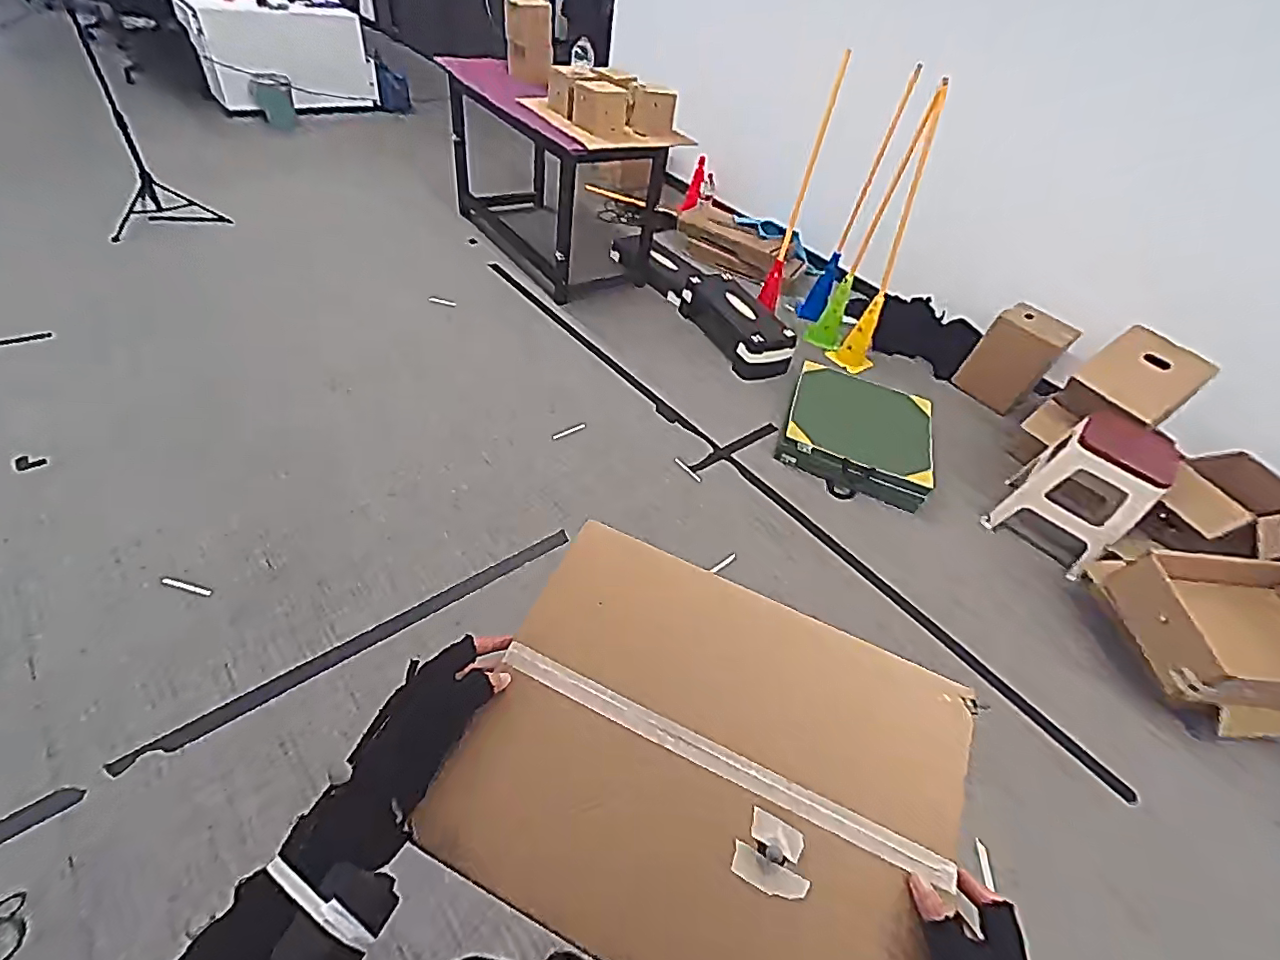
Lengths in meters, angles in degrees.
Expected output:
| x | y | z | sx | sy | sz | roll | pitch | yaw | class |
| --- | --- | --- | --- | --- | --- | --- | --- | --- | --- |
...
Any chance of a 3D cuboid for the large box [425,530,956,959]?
| x | y | z | sx | sy | sz | roll | pitch | yaw | class |
| --- | --- | --- | --- | --- | --- | --- | --- | --- | --- |
| 0.053 | 0.319 | 0.604 | 0.408 | 0.320 | 0.320 | 24 | 60 | 10 | large box |
